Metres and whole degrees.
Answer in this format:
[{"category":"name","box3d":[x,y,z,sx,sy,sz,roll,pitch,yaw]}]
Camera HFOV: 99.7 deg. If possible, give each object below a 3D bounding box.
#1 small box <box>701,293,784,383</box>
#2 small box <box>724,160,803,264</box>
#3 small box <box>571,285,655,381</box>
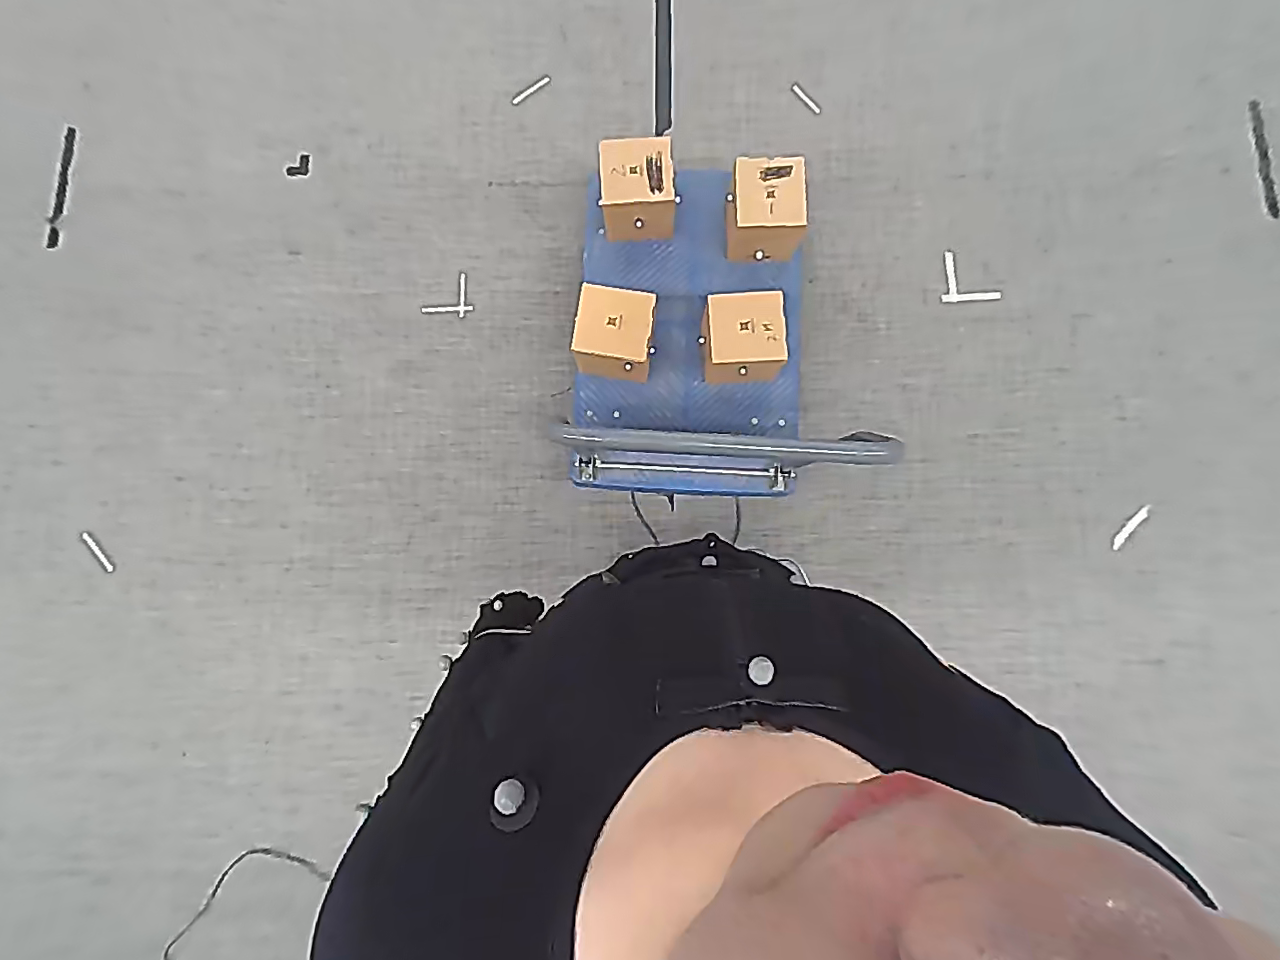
[{"category":"small box","box3d":[0.242,-0.341,1.325,0.179,0.176,0.168,-3,83,0]},{"category":"small box","box3d":[0.305,-0.671,1.363,0.168,0.176,0.179,0,84,1]},{"category":"small box","box3d":[-0.064,-0.354,1.329,0.179,0.176,0.168,9,83,0]}]
